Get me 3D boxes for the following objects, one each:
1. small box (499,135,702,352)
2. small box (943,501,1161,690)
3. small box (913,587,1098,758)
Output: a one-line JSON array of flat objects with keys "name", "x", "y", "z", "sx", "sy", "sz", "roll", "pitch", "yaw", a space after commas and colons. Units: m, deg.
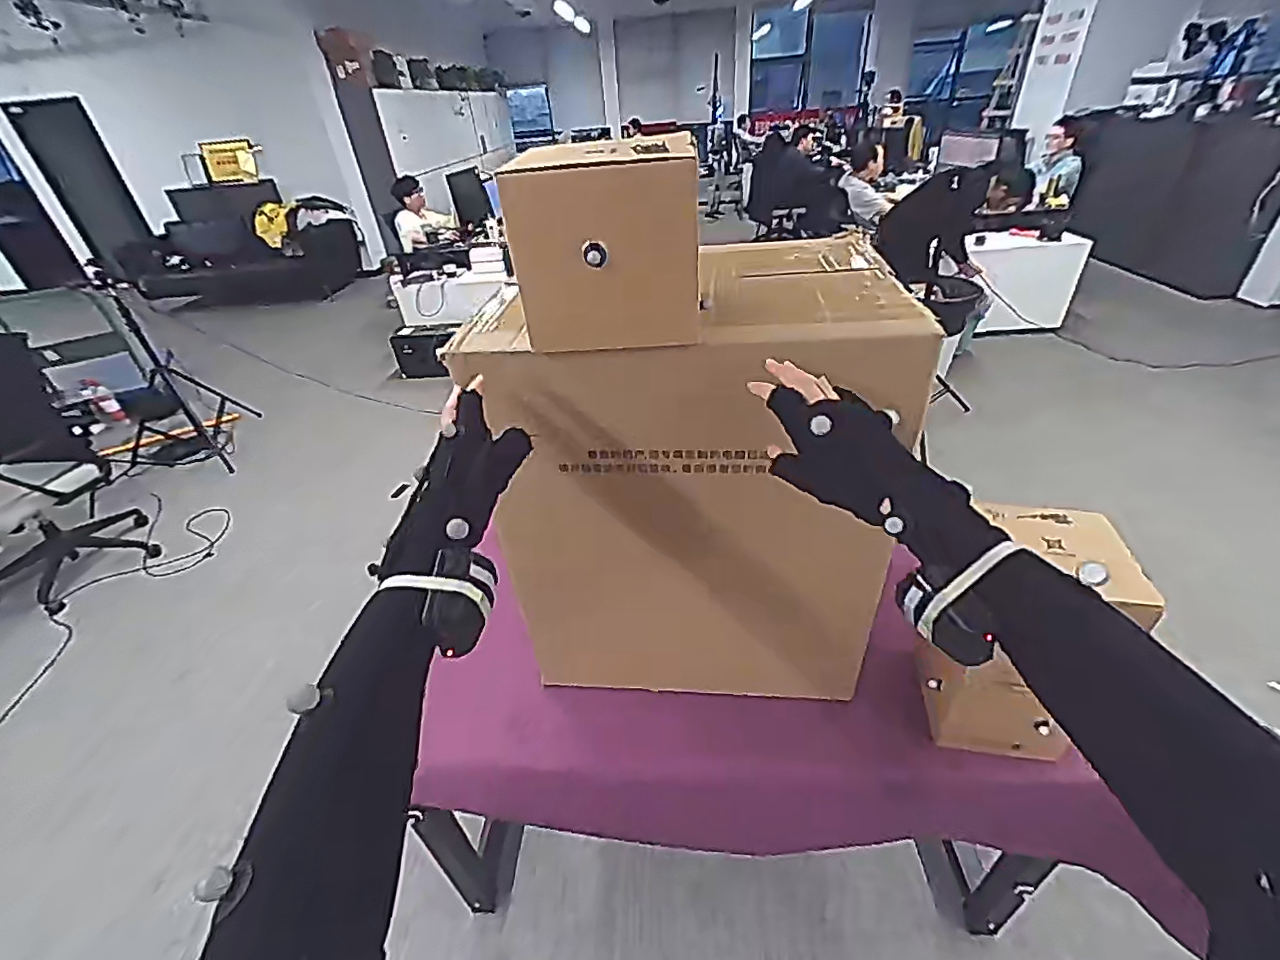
[{"name": "small box", "x": -0.025, "y": -0.247, "z": 0.567, "sx": 0.179, "sy": 0.176, "sz": 0.168, "roll": -3, "pitch": 37, "yaw": 5}, {"name": "small box", "x": 0.528, "y": 0.153, "z": 0.728, "sx": 0.168, "sy": 0.176, "sz": 0.179, "roll": 6, "pitch": 37, "yaw": 14}, {"name": "small box", "x": 0.532, "y": 0.289, "z": 0.820, "sx": 0.168, "sy": 0.176, "sz": 0.179, "roll": 3, "pitch": 34, "yaw": 11}]
